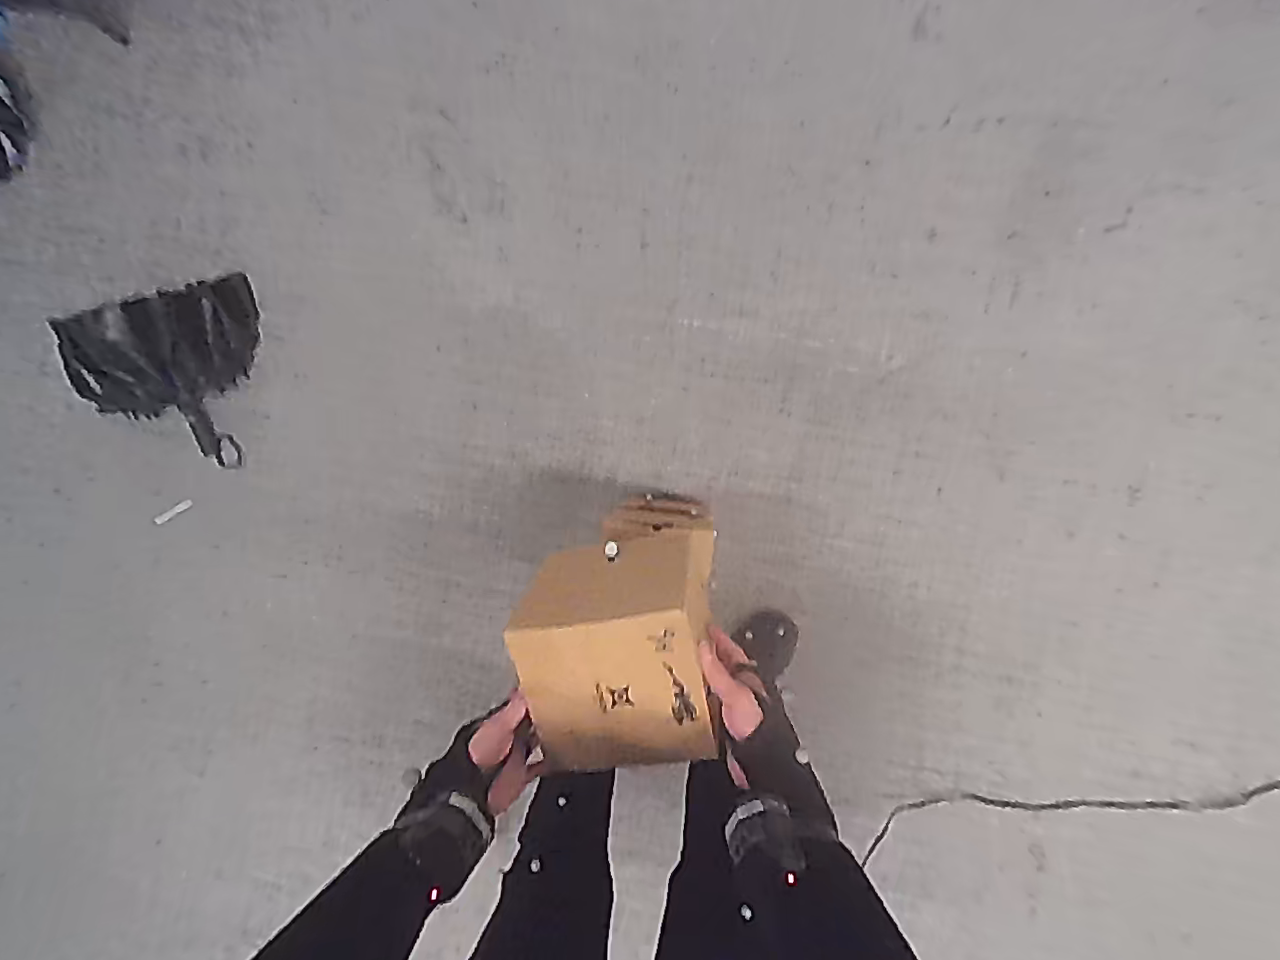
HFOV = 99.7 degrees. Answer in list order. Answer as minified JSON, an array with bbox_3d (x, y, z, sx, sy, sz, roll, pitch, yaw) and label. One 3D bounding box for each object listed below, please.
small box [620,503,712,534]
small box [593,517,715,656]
[{"bbox_3d":[0.045,0.144,1.034,0.168,0.176,0.179,6,95,6],"label":"small box"},{"bbox_3d":[0.026,0.159,0.871,0.168,0.176,0.179,6,94,6],"label":"small box"}]
